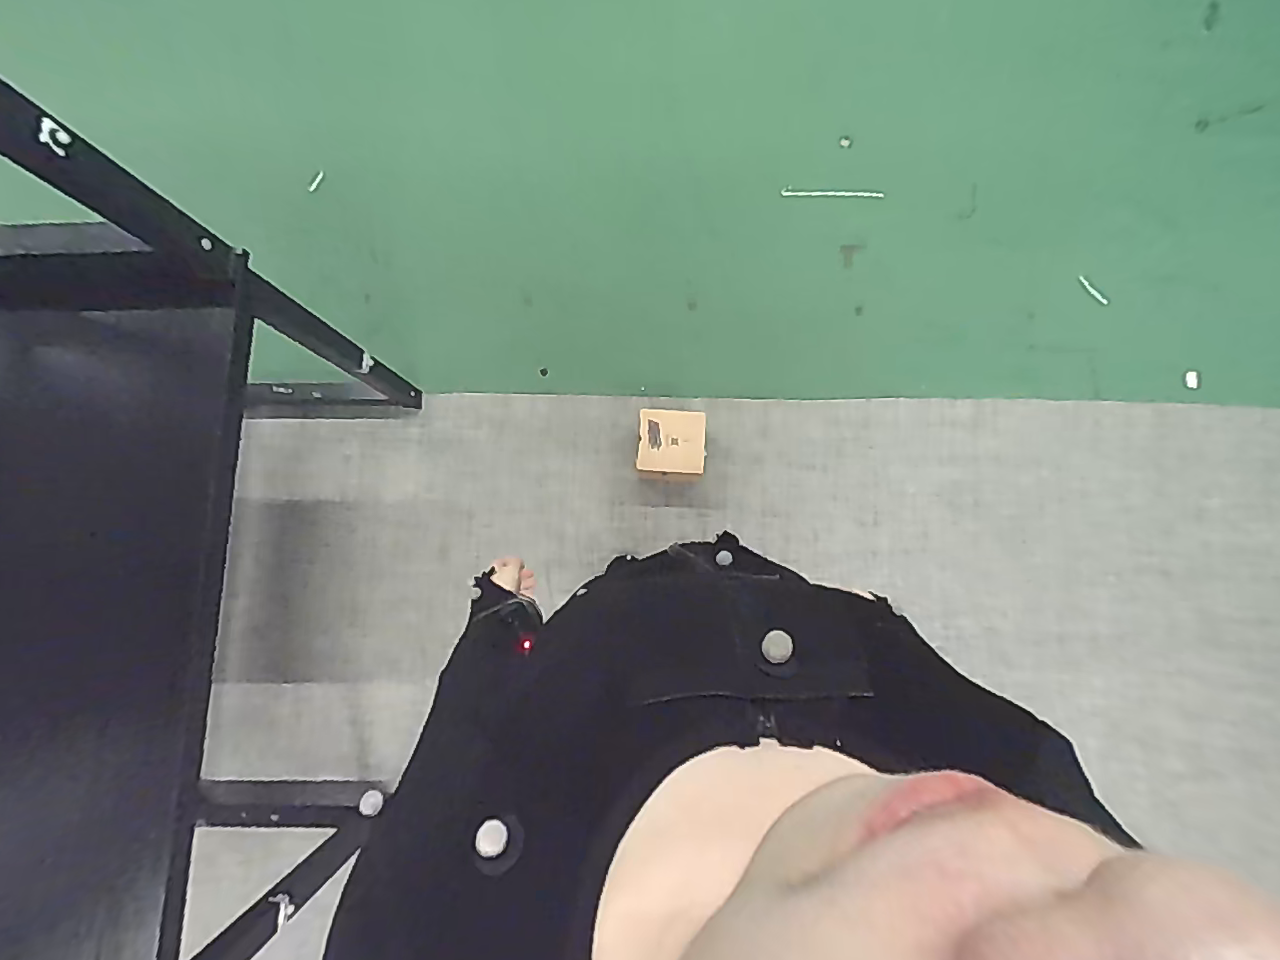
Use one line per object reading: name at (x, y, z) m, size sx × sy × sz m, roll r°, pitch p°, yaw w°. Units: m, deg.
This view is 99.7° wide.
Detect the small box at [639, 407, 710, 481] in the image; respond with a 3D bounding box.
small box at (0.091, -0.092, 1.465) m, size 0.179 × 0.176 × 0.168 m, roll 4°, pitch 83°, yaw 1°
